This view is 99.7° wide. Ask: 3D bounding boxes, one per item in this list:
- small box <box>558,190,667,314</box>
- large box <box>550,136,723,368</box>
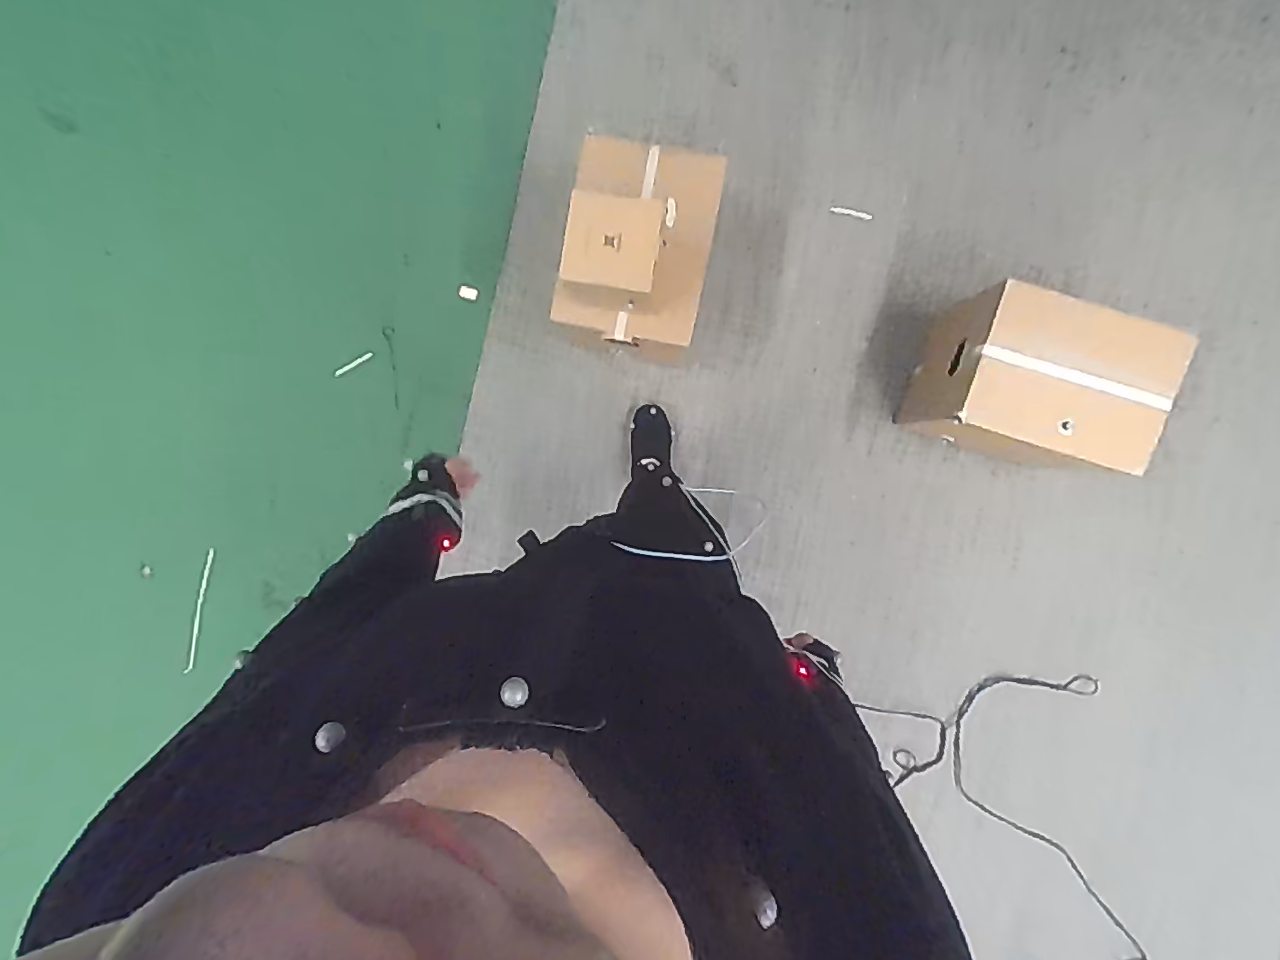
[{"bbox_3d":[-0.045,-0.436,1.061,0.179,0.176,0.168,11,93,4],"label":"small box"},{"bbox_3d":[-0.002,-0.514,1.301,0.320,0.320,0.408,12,93,2],"label":"large box"}]
